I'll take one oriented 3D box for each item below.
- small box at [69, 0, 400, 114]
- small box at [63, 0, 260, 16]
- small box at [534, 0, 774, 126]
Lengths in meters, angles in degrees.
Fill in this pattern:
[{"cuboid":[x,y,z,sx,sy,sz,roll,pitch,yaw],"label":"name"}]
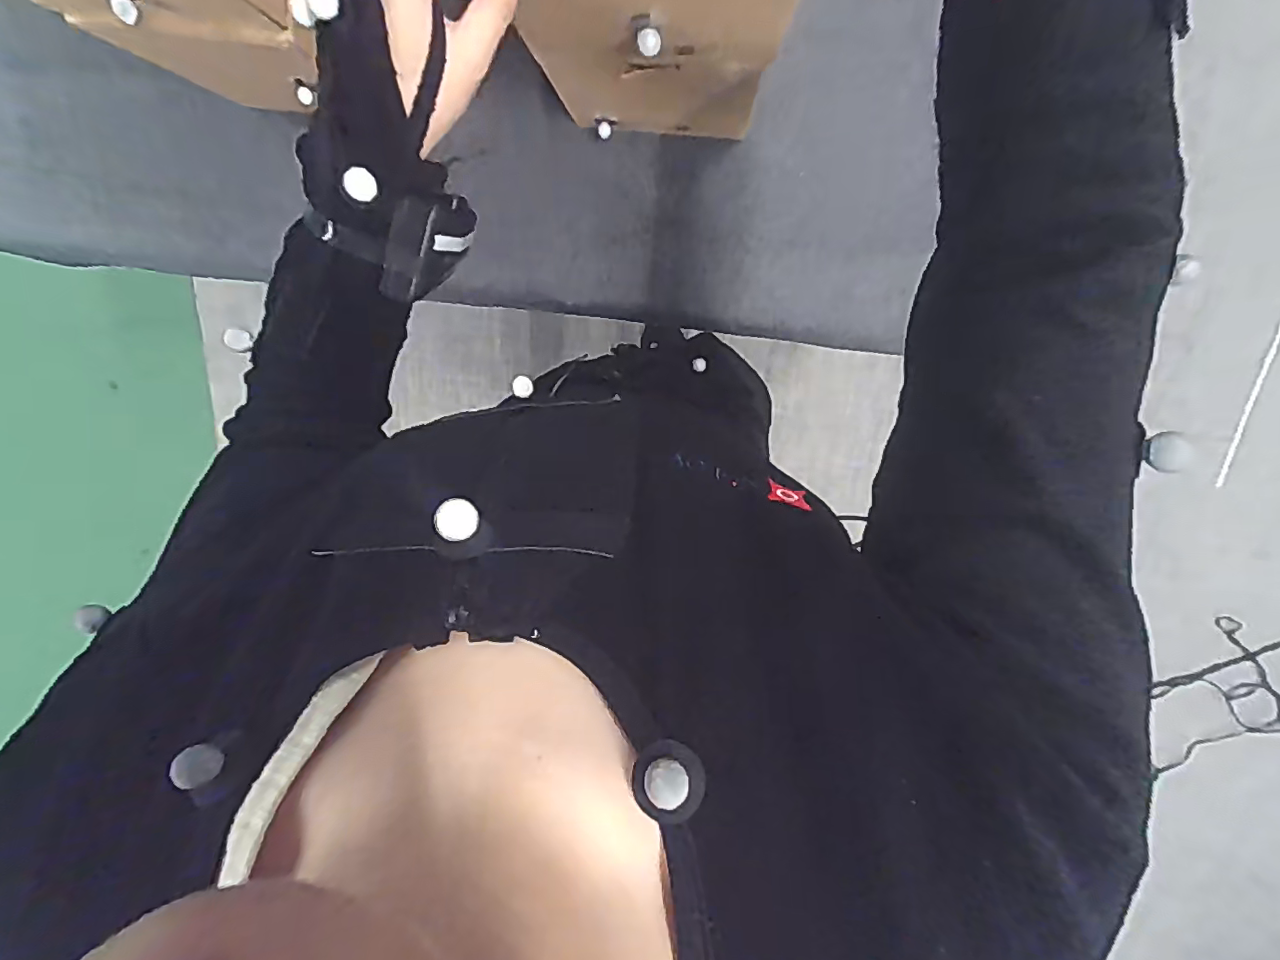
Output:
[{"cuboid":[-0.315,-0.426,0.444,0.179,0.176,0.168,7,106,4],"label":"small box"},{"cuboid":[-0.329,-0.386,0.285,0.179,0.176,0.168,6,107,3],"label":"small box"},{"cuboid":[0.021,-0.401,0.420,0.168,0.176,0.179,6,107,3],"label":"small box"}]
